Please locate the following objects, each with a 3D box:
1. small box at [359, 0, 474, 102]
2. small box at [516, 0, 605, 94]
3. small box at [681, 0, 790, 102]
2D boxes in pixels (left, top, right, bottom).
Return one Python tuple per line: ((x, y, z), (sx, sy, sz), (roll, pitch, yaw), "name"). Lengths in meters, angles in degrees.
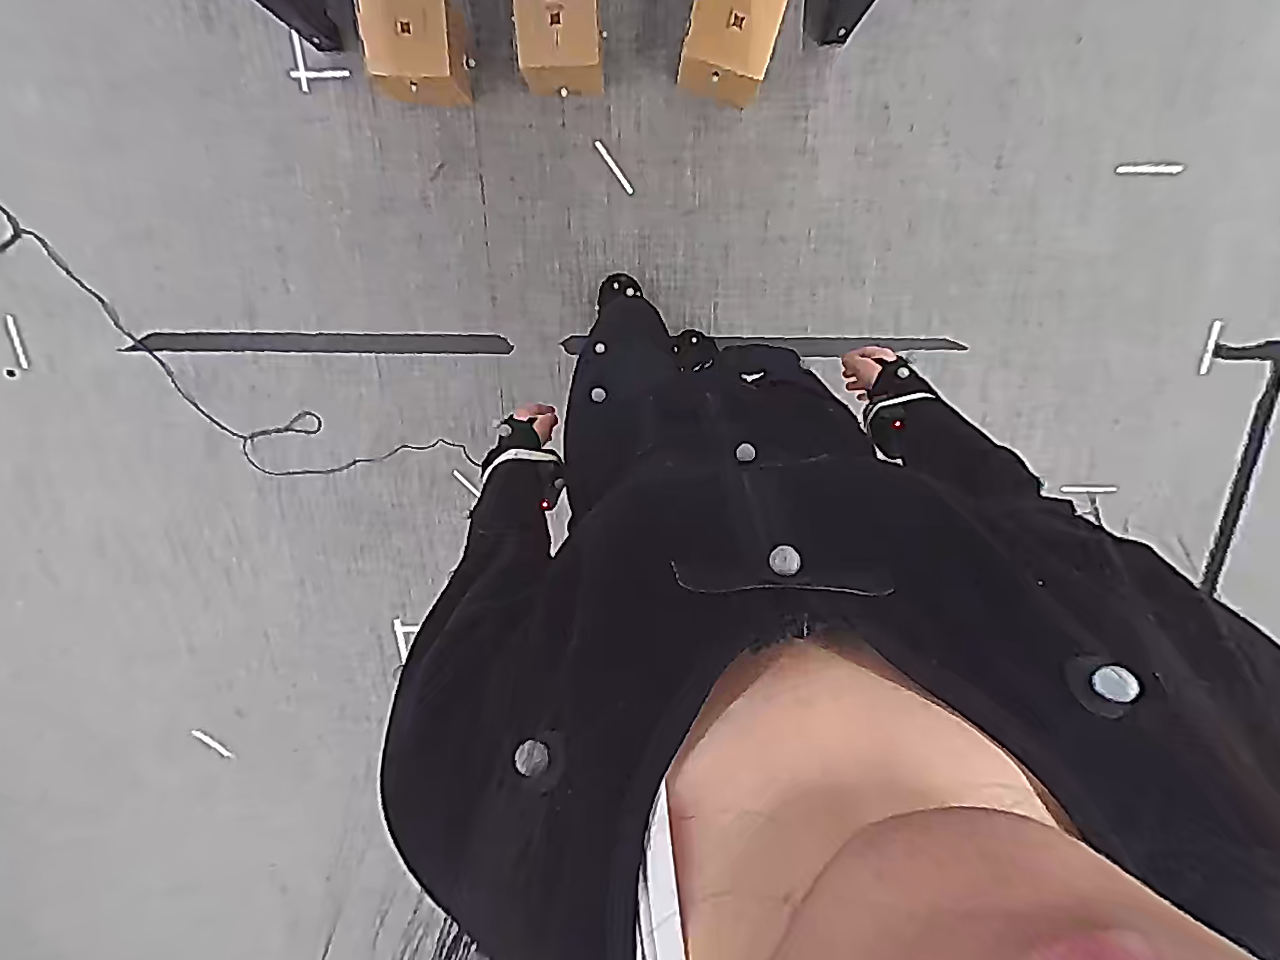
((-0.468, -0.931, 1.152), (0.179, 0.176, 0.168), (2, 108, -1), "small box")
((-0.162, -0.948, 1.141), (0.168, 0.176, 0.179), (-1, 108, 1), "small box")
((0.194, -0.935, 1.143), (0.179, 0.176, 0.168), (16, 108, -3), "small box")
